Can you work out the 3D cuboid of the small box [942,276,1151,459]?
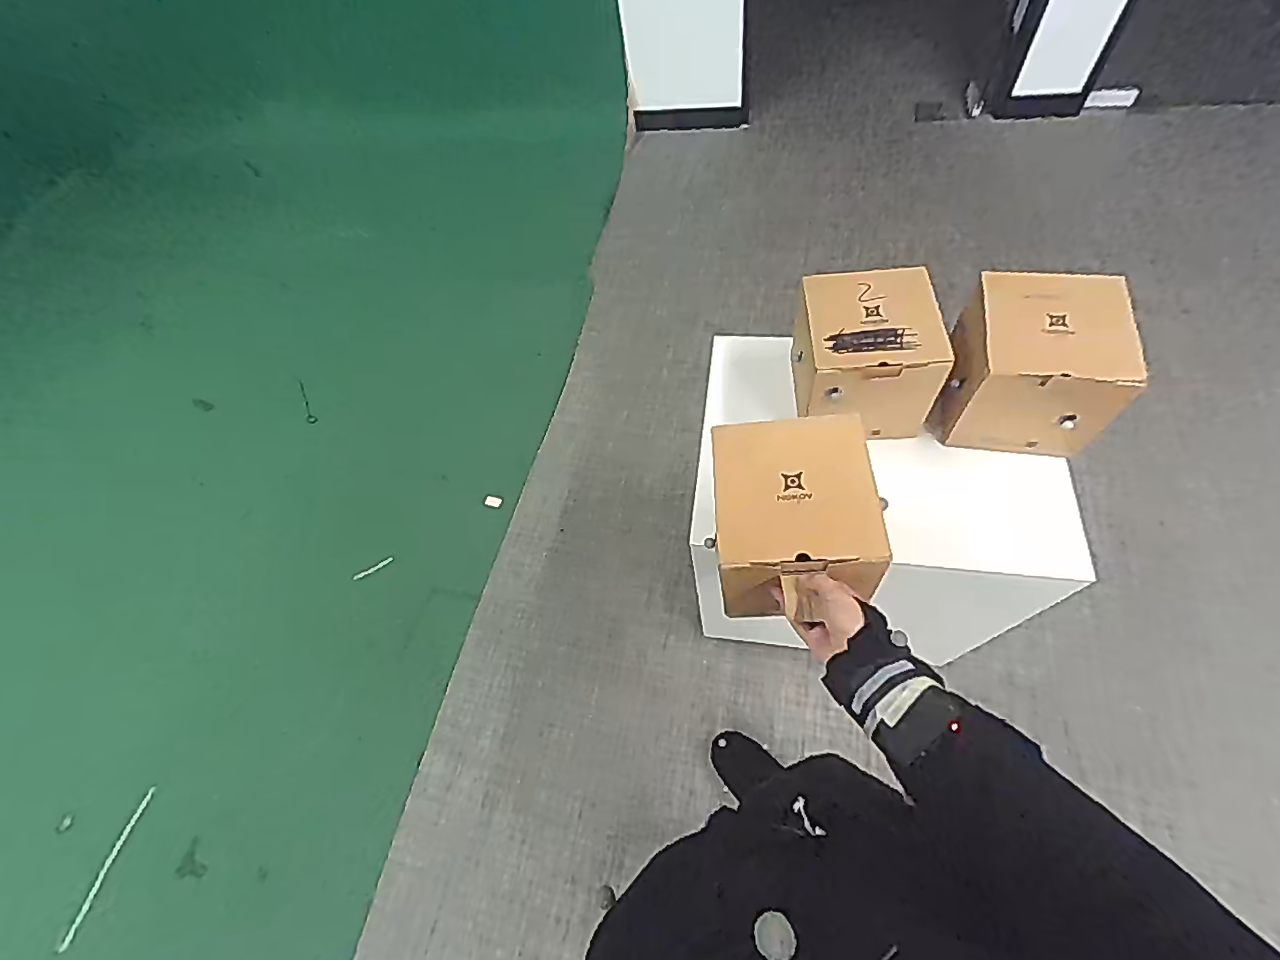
[{"bbox_3d":[0.526,-0.147,0.732,0.168,0.176,0.179,8,62,12],"label":"small box"}]

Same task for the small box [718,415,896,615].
[{"bbox_3d":[0.178,0.047,0.633,0.168,0.176,0.179,-4,59,9],"label":"small box"}]
